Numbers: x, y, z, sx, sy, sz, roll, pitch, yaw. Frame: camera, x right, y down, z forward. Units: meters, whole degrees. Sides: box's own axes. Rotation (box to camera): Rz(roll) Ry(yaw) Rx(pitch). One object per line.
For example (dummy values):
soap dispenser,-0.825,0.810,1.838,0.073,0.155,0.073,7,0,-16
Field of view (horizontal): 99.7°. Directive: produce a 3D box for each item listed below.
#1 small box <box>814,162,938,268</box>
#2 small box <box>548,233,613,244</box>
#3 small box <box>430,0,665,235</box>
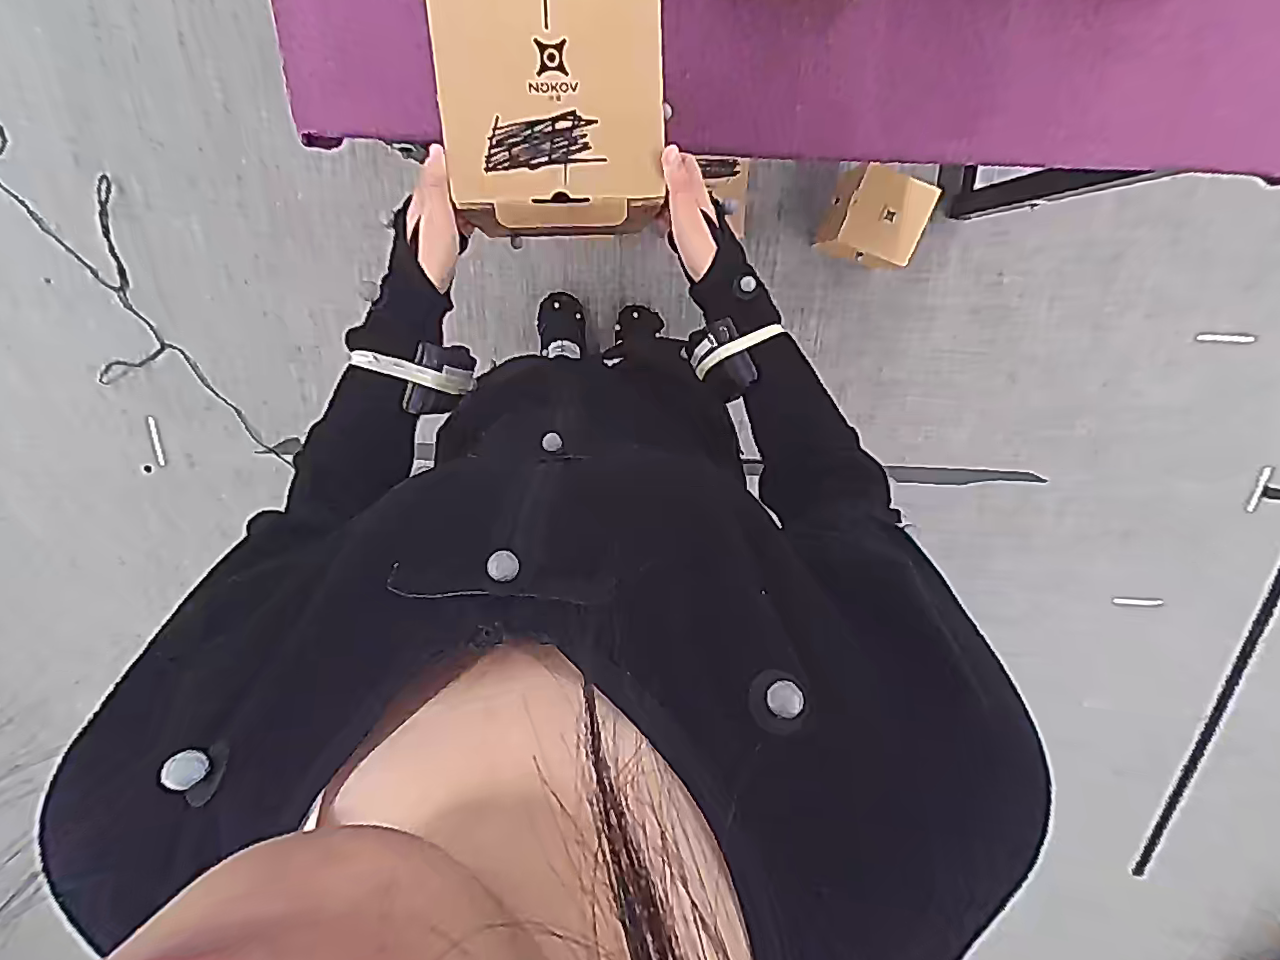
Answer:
small box,0.533,-0.601,1.247,0.179,0.176,0.168,18,109,-6
small box,-0.138,-0.643,1.220,0.168,0.176,0.179,4,108,-2
small box,-0.071,-0.316,0.468,0.168,0.176,0.179,-4,106,-6
